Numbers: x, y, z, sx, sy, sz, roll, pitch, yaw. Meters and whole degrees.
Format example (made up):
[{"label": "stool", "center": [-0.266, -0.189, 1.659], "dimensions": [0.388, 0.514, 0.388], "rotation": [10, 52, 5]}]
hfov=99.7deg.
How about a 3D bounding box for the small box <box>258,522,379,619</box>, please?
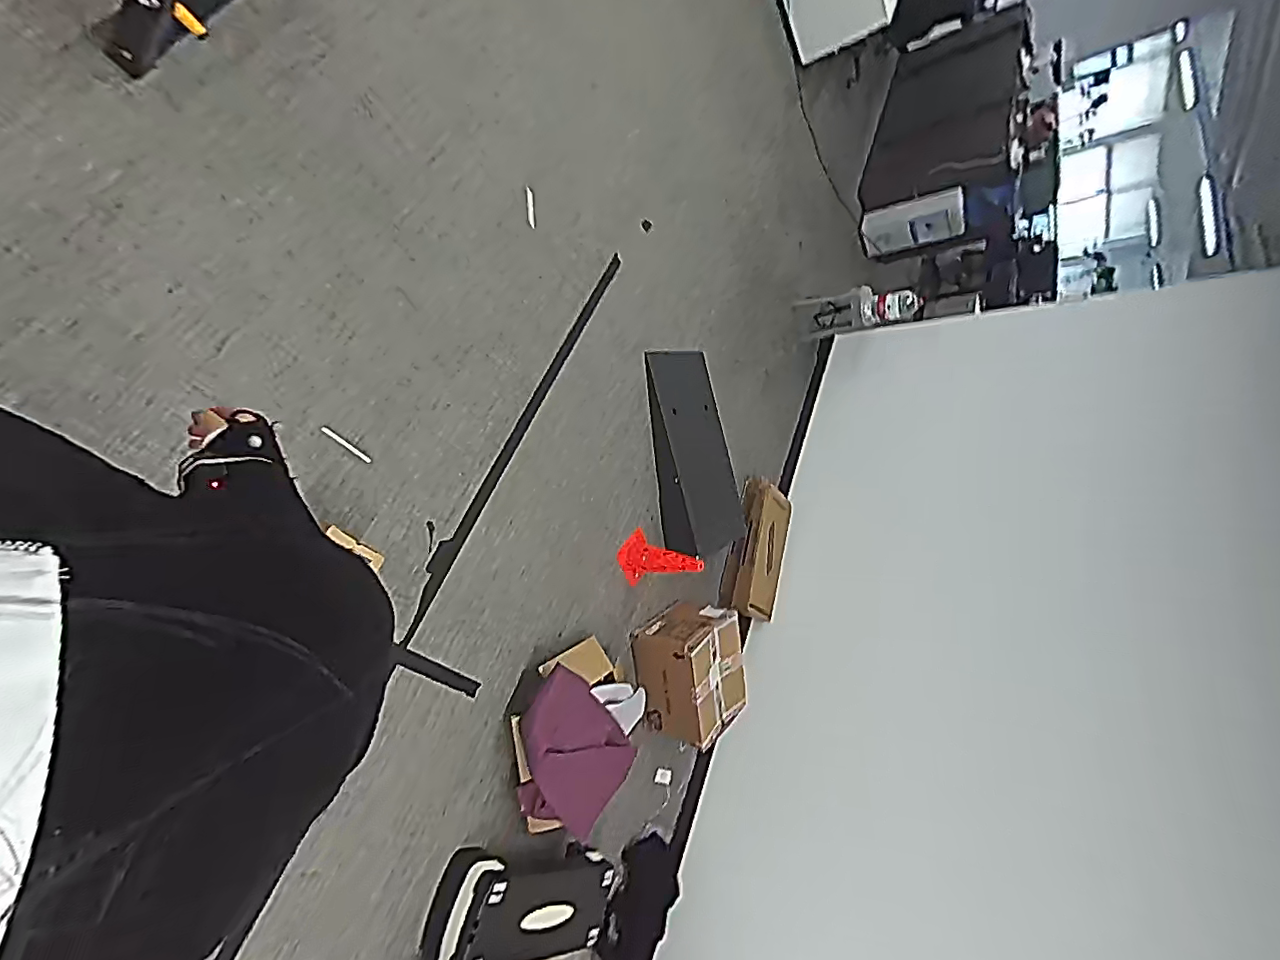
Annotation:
[{"label": "small box", "center": [-0.807, 0.219, 1.352], "dimensions": [0.168, 0.176, 0.179], "rotation": [51, 54, -39]}]
